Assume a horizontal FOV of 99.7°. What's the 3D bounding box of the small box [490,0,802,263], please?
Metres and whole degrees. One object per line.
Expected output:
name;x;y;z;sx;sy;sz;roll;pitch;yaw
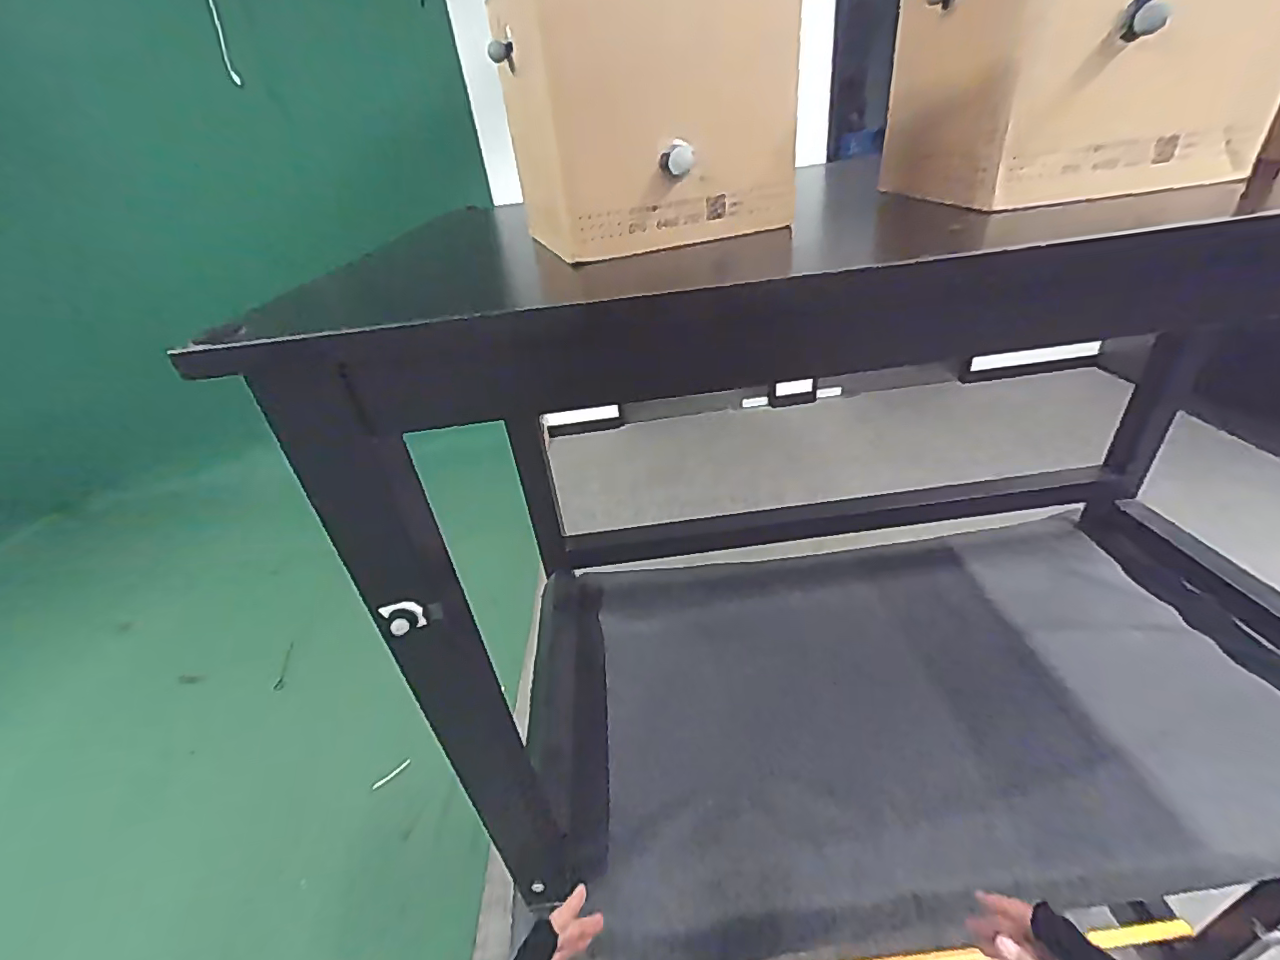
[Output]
small box;-0.003;-0.266;0.396;0.168;0.176;0.179;-15;35;-13
